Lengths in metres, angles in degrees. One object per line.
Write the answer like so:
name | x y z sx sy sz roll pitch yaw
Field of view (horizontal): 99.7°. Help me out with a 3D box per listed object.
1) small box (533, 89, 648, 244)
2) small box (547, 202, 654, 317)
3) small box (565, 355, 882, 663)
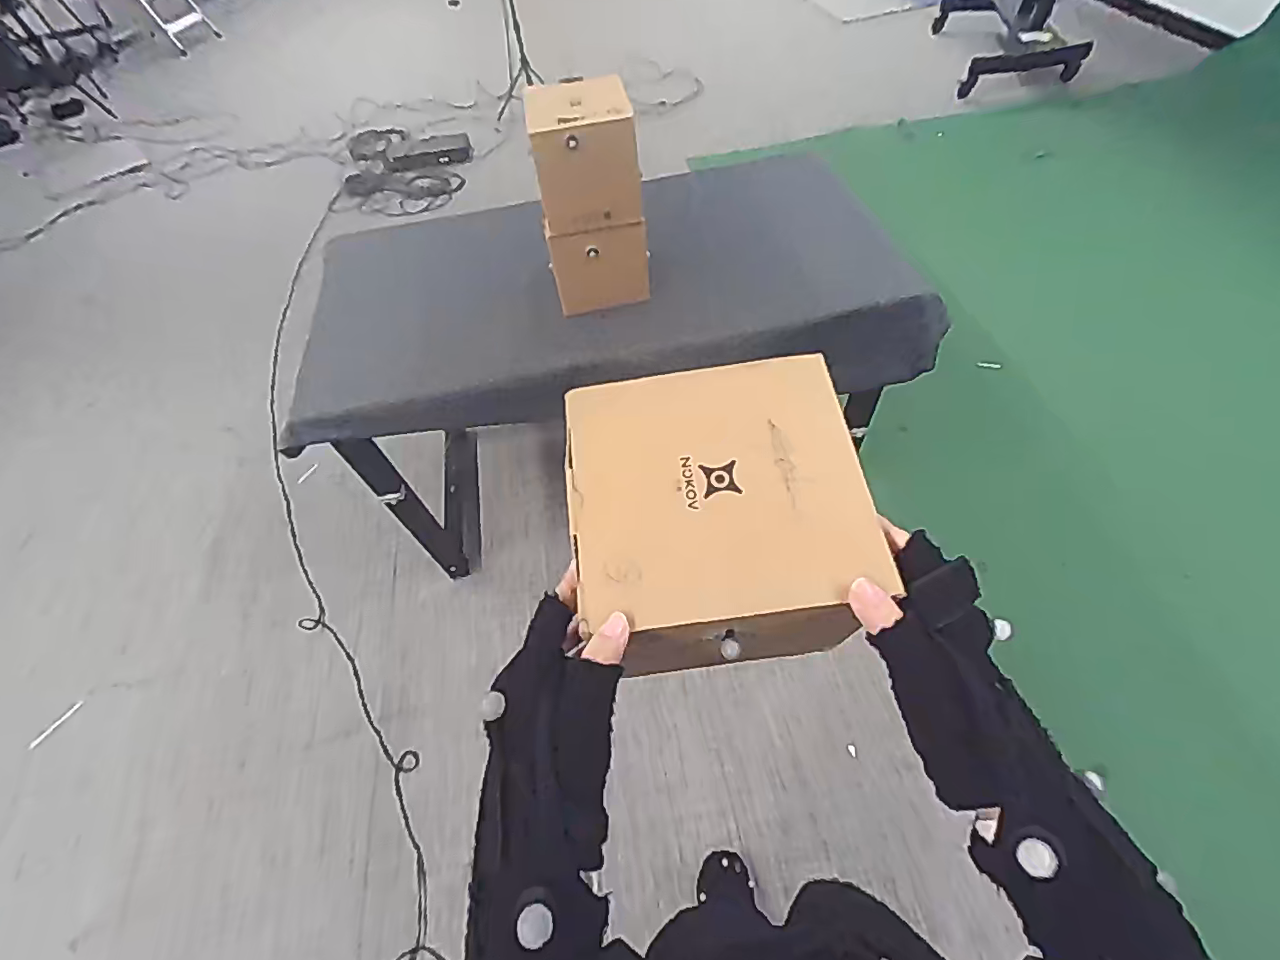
small box | -0.083 -0.539 0.936 0.168 0.176 0.179 -12 55 -4
small box | -0.076 -0.442 1.064 0.179 0.176 0.168 -11 54 -2
small box | 0.049 0.033 0.408 0.179 0.176 0.168 -8 62 1
